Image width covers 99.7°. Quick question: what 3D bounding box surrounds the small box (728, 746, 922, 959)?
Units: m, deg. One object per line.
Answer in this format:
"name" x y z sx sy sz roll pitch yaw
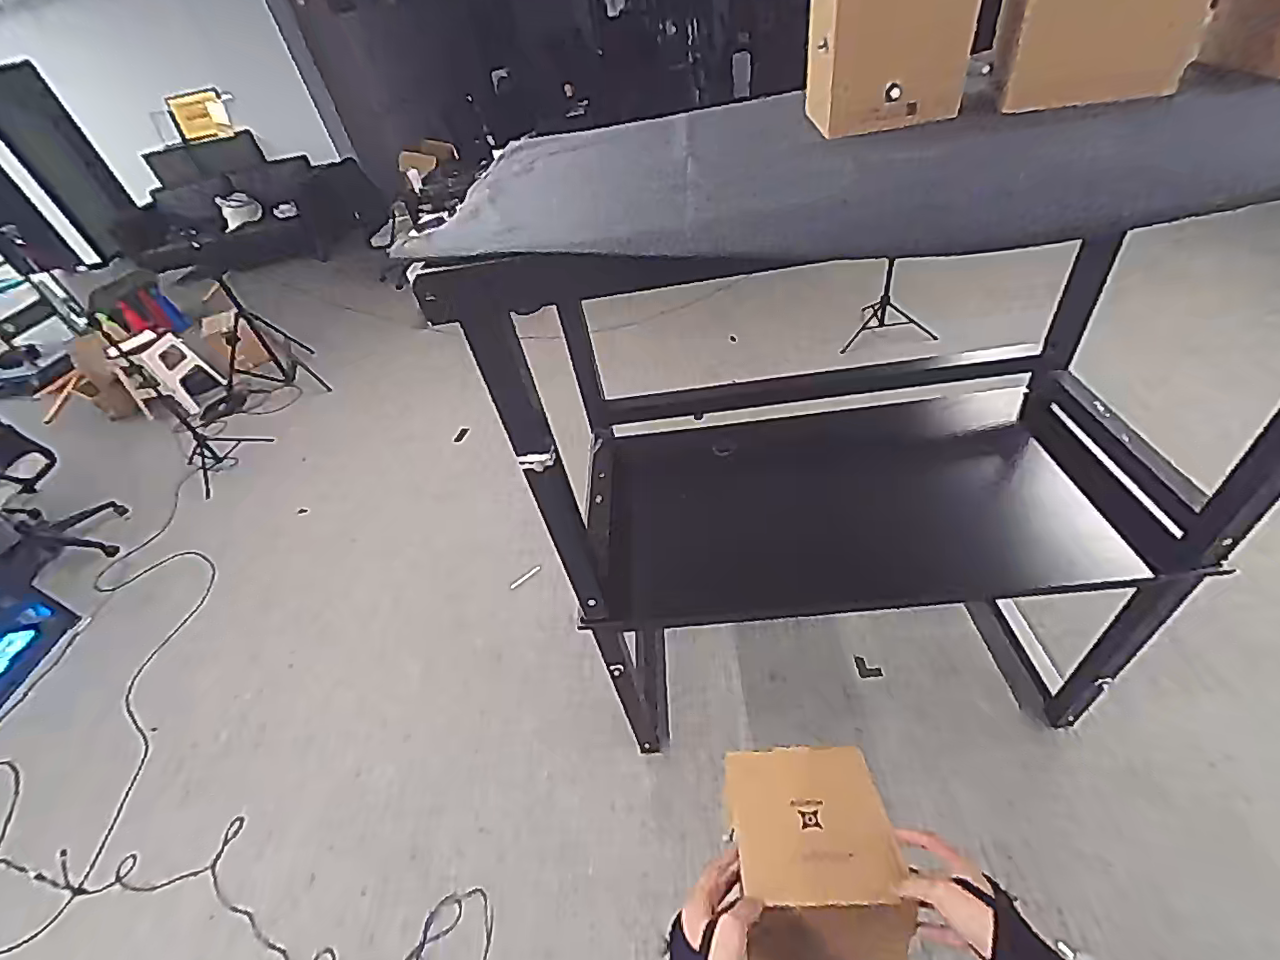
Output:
"small box" 0.188 0.432 0.608 0.168 0.176 0.179 -4 23 4

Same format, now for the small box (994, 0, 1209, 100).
"small box" 0.545 -0.572 0.643 0.179 0.176 0.168 5 45 18

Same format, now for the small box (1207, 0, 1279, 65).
"small box" 0.787 -0.564 0.577 0.168 0.176 0.179 -3 43 11
